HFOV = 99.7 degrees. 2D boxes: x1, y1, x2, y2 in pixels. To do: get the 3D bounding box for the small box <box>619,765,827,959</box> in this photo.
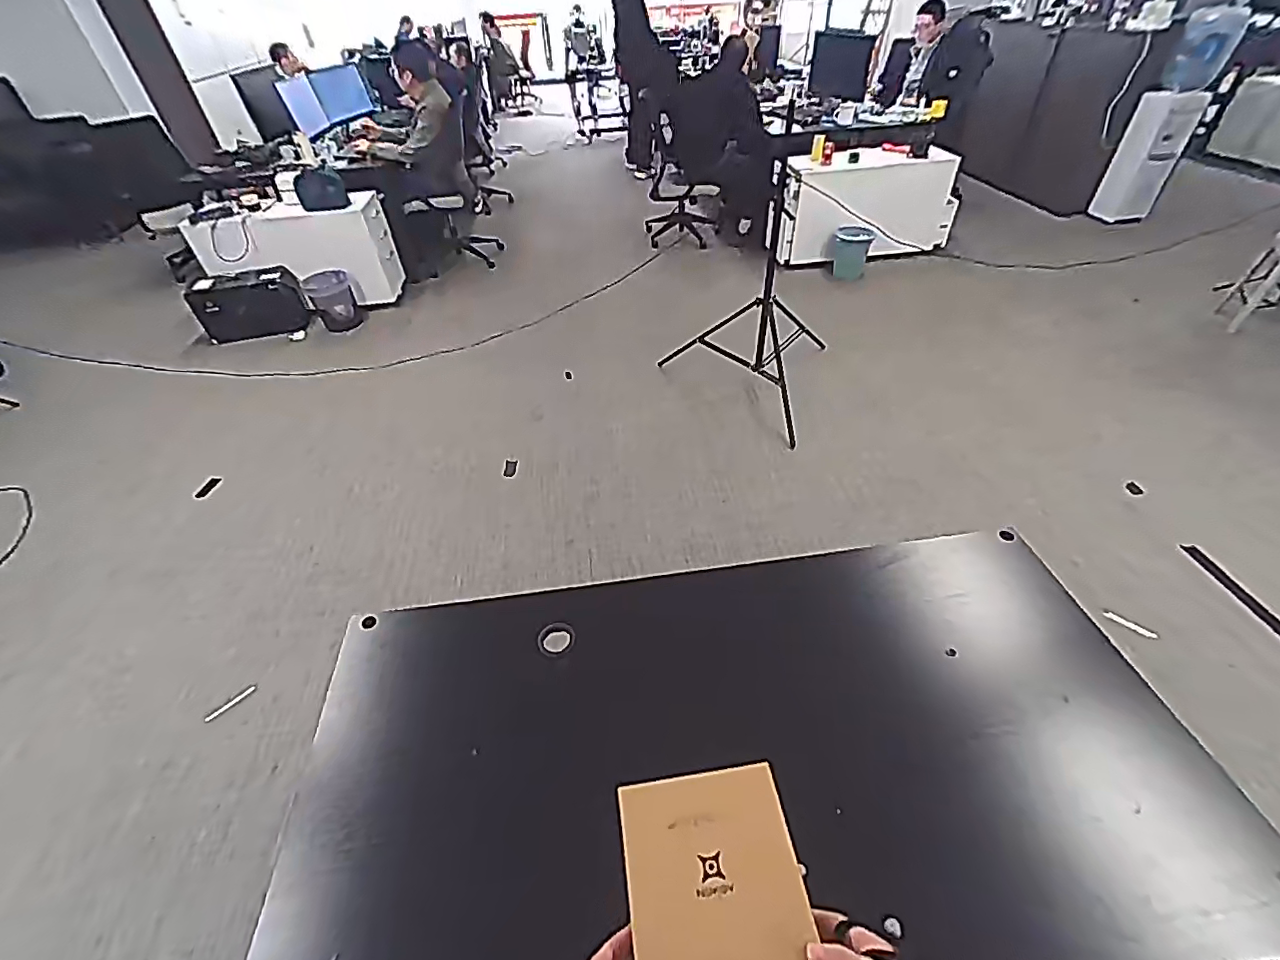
[{"bbox_3d":[0.073,0.430,0.560,0.168,0.176,0.179,-7,42,-5],"label":"small box"}]
